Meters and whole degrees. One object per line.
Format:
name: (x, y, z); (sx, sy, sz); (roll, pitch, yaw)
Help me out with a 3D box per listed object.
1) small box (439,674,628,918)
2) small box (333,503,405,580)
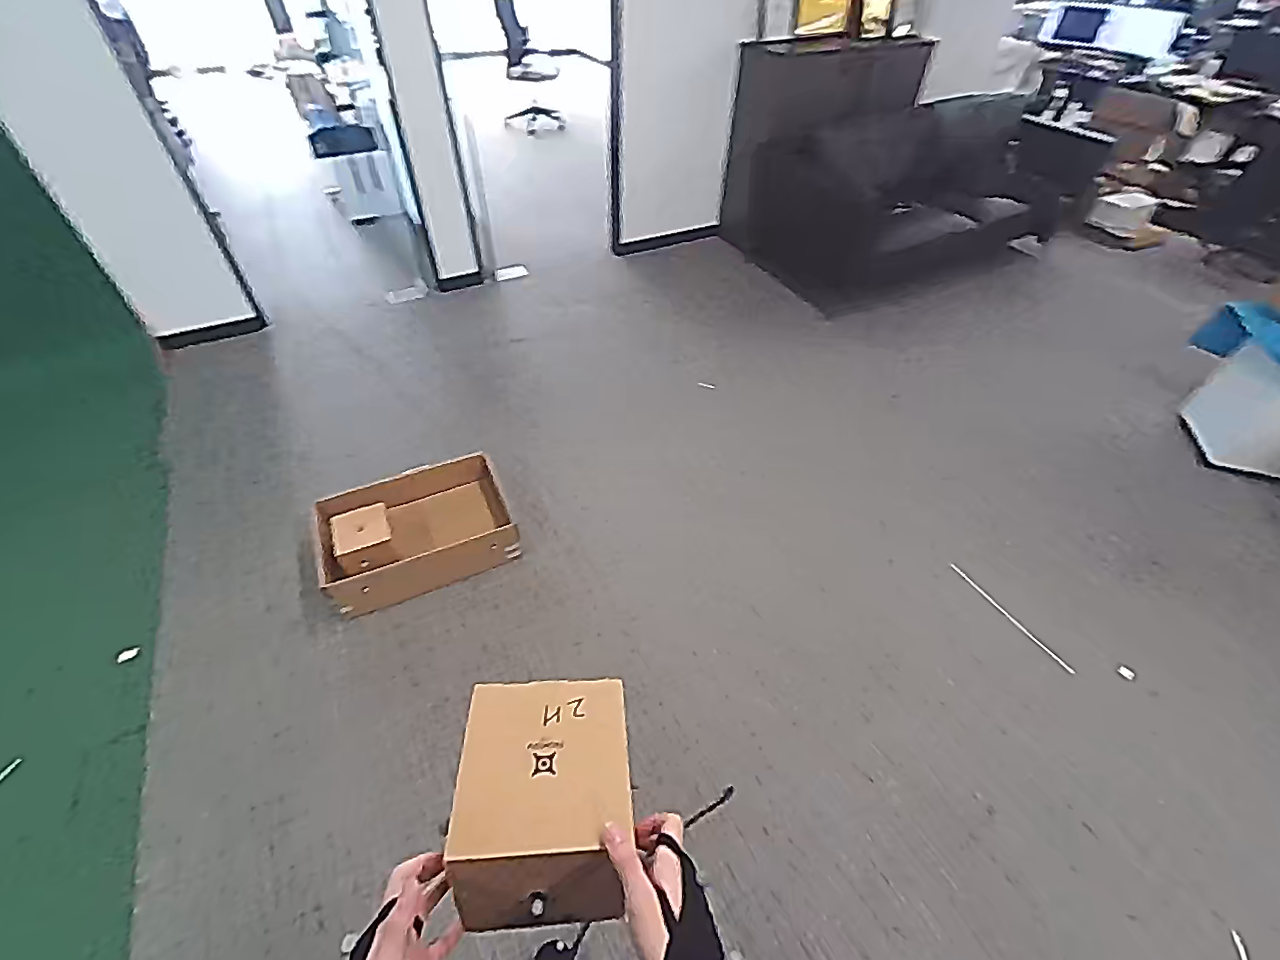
small box: (-0.101, 0.334, 0.576); (0.168, 0.176, 0.179); (1, 34, -7)
small box: (-0.905, 0.214, 1.813); (0.168, 0.176, 0.179); (-19, 49, -19)
